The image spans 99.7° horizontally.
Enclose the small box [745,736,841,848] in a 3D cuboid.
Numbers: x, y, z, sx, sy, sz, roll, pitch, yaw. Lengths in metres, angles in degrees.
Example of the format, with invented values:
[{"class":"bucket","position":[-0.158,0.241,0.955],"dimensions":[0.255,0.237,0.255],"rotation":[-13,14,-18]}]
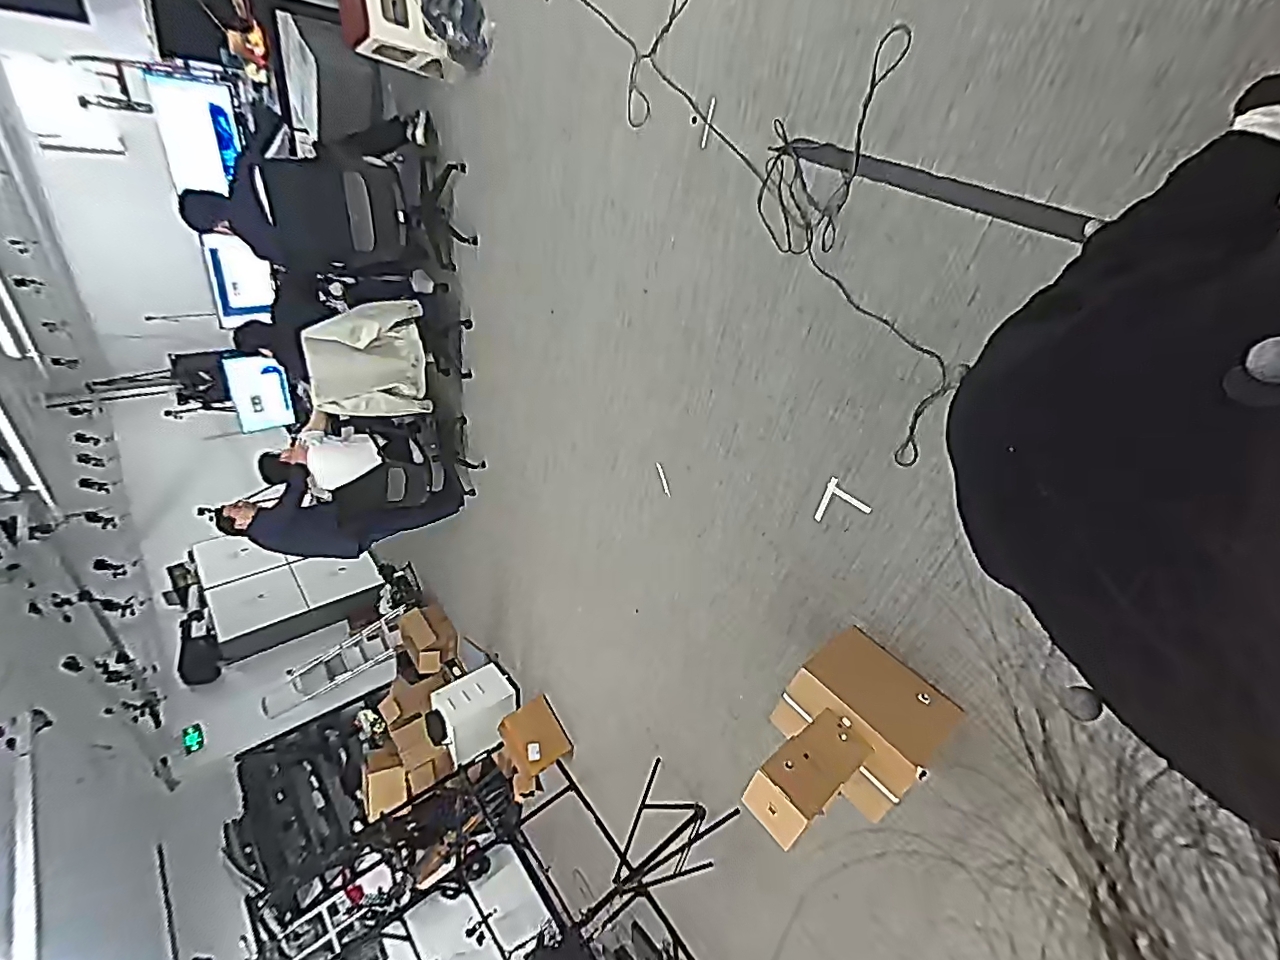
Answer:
[{"class":"small box","position":[0.420,0.842,1.476],"dimensions":[0.168,0.176,0.179],"rotation":[39,133,35]}]

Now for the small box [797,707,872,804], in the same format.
[{"class":"small box","position":[0.543,0.806,1.576],"dimensions":[0.168,0.176,0.179],"rotation":[39,132,34]}]
